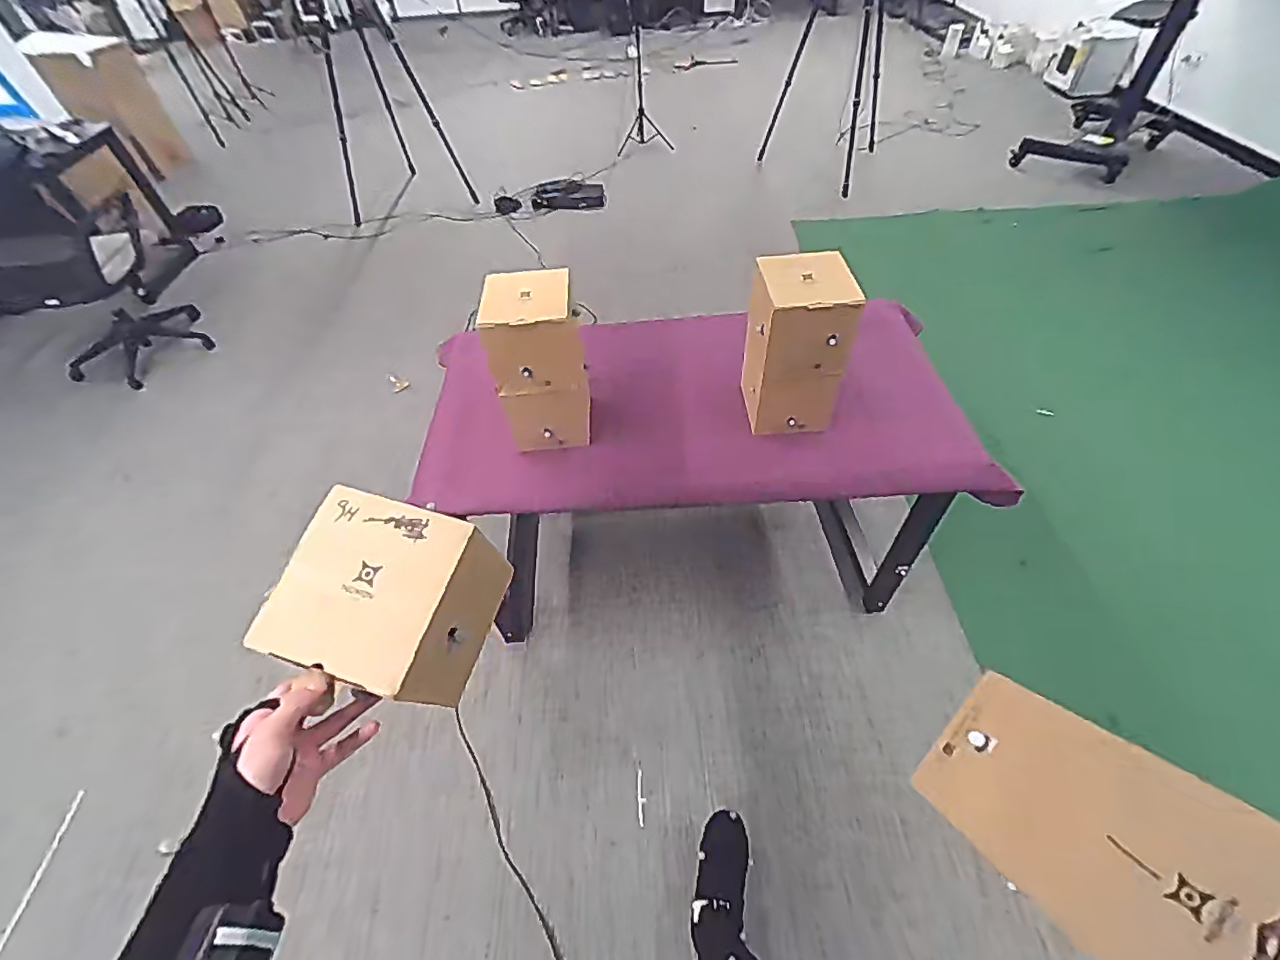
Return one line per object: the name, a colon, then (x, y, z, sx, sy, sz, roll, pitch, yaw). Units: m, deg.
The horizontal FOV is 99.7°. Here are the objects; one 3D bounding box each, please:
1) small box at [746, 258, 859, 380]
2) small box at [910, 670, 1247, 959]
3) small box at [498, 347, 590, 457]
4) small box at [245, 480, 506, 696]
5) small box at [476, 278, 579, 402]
small box: (0.308, -0.309, 1.064, 0.168, 0.176, 0.179, -4, 50, 1)
small box: (0.432, 0.330, 0.561, 0.179, 0.176, 0.168, 37, 87, -7)
small box: (-0.206, -0.173, 1.204, 0.168, 0.176, 0.179, -5, 49, 1)
small box: (-0.269, 0.129, 0.603, 0.168, 0.176, 0.179, 15, 67, 9)
small box: (-0.215, -0.279, 1.082, 0.168, 0.176, 0.179, -5, 50, -1)
